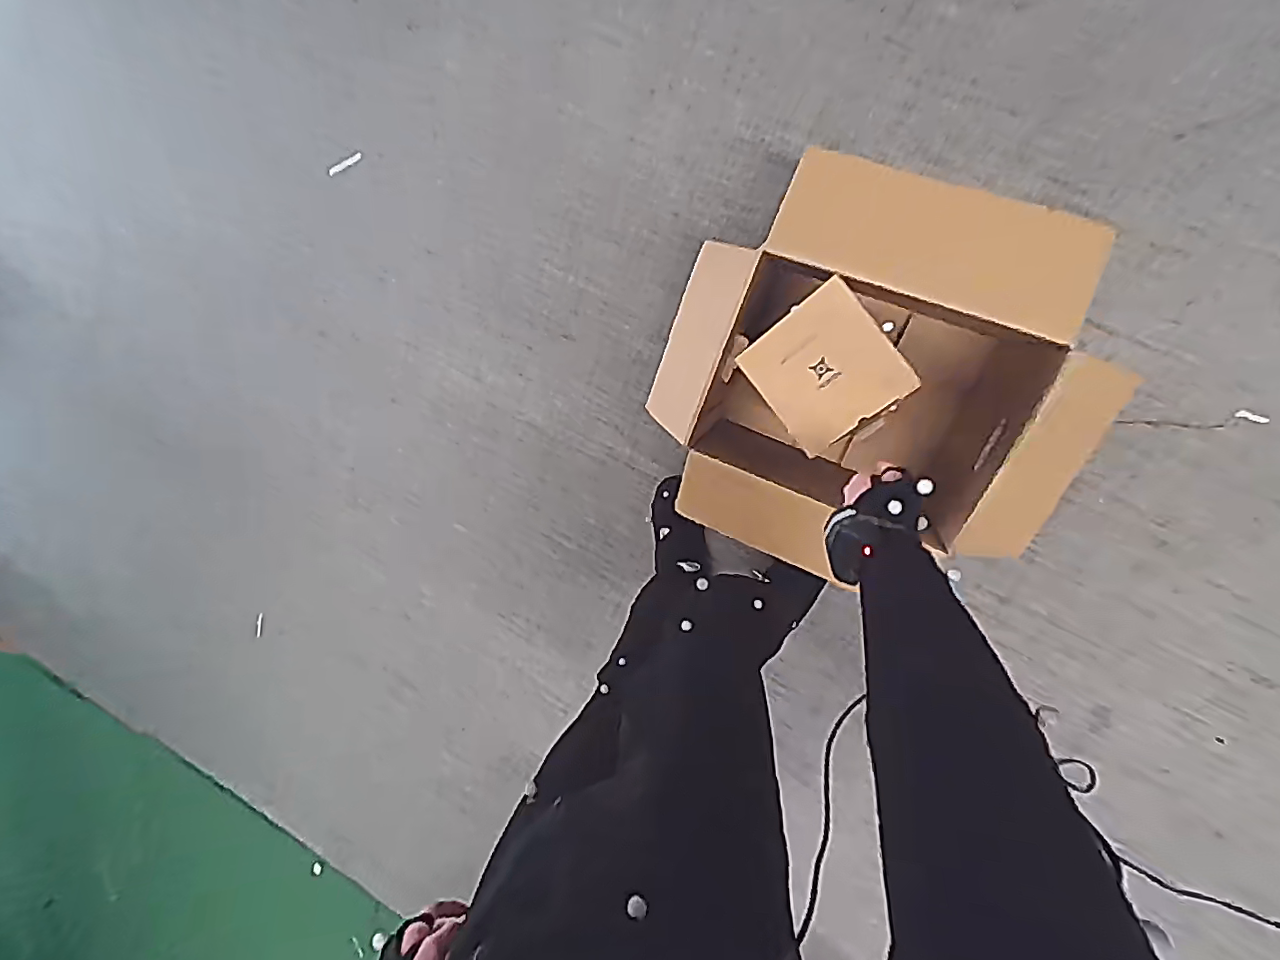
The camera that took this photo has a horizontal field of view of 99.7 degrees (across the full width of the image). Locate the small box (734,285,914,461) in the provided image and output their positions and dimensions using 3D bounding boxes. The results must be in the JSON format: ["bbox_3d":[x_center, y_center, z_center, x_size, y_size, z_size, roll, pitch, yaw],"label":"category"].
[{"bbox_3d":[0.268,-0.155,0.785,0.168,0.176,0.179,-38,87,25],"label":"small box"}]
